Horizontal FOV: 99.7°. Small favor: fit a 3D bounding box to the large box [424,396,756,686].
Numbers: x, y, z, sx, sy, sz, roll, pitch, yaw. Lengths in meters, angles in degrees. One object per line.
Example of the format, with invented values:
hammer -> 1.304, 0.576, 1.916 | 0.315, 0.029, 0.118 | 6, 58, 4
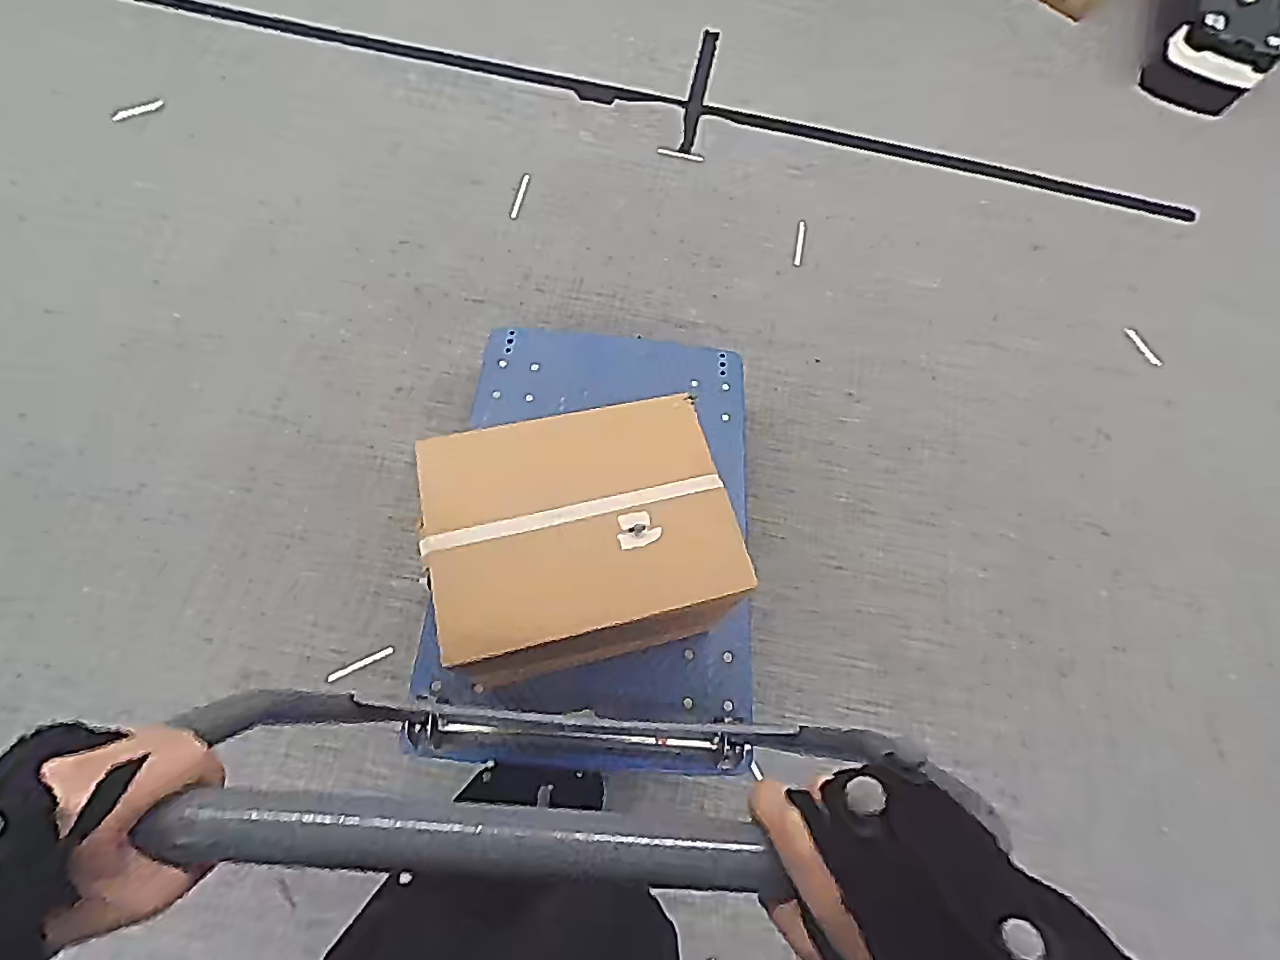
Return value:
large box -> -0.091, 0.107, 0.867 | 0.408, 0.320, 0.320 | -11, 67, -12
